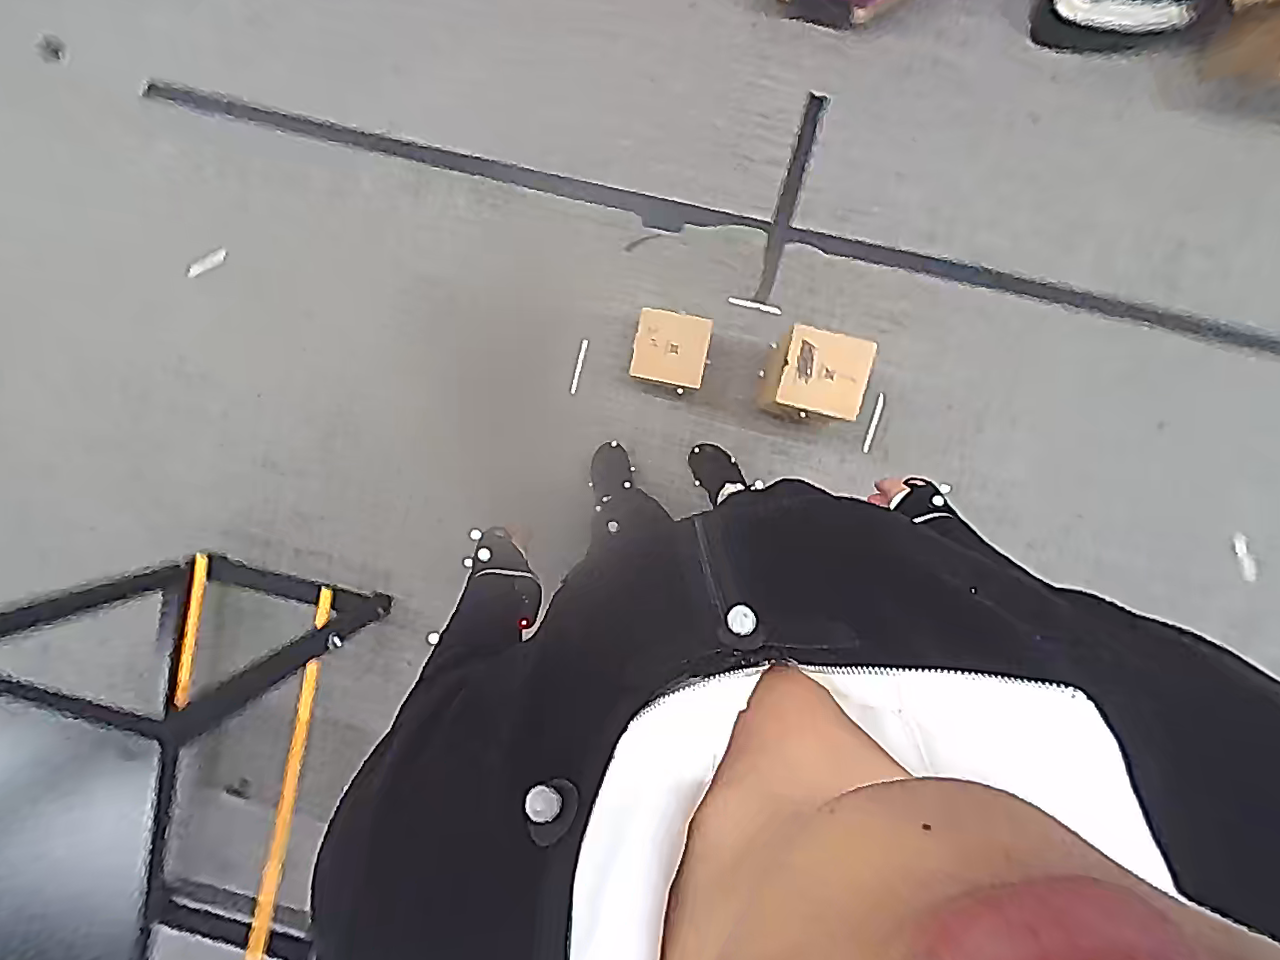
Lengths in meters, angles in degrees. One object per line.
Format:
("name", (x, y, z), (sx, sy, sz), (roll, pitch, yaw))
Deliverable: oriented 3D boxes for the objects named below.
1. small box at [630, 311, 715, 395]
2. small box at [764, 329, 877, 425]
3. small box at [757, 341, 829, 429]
("small box", (0.081, -0.314, 1.369), (0.179, 0.176, 0.168), (13, 96, 3))
("small box", (0.386, -0.220, 1.195), (0.179, 0.176, 0.168), (15, 97, 1))
("small box", (0.400, -0.236, 1.359), (0.168, 0.176, 0.179), (17, 98, 2))
